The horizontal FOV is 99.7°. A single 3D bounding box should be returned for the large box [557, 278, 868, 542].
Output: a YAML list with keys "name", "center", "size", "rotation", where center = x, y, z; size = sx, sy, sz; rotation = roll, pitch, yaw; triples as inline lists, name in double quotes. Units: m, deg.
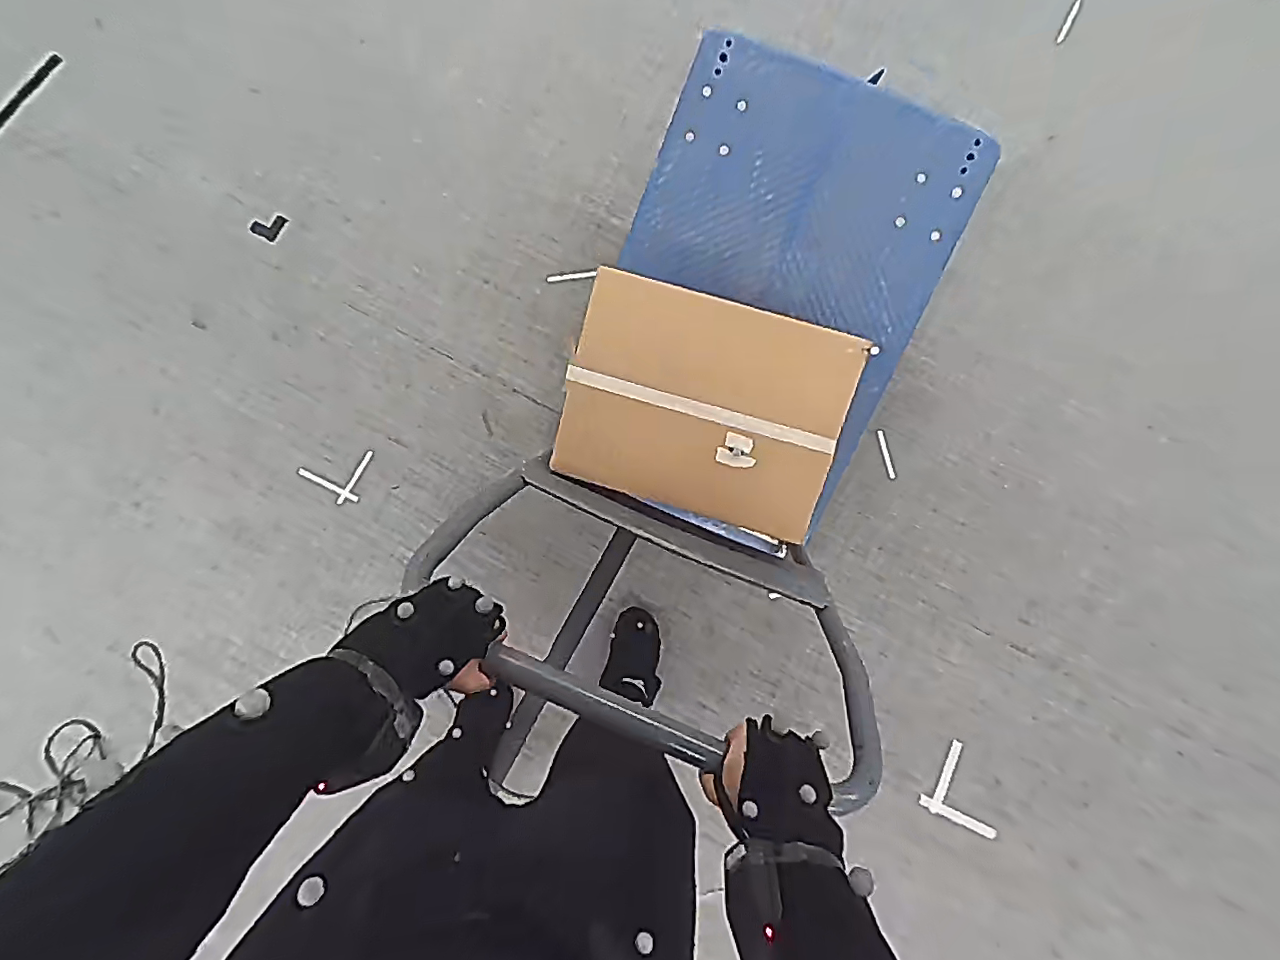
- name: "large box"
  center: [0.108, -0.125, 0.950]
  size: [0.408, 0.320, 0.320]
  rotation: [16, 102, 2]
